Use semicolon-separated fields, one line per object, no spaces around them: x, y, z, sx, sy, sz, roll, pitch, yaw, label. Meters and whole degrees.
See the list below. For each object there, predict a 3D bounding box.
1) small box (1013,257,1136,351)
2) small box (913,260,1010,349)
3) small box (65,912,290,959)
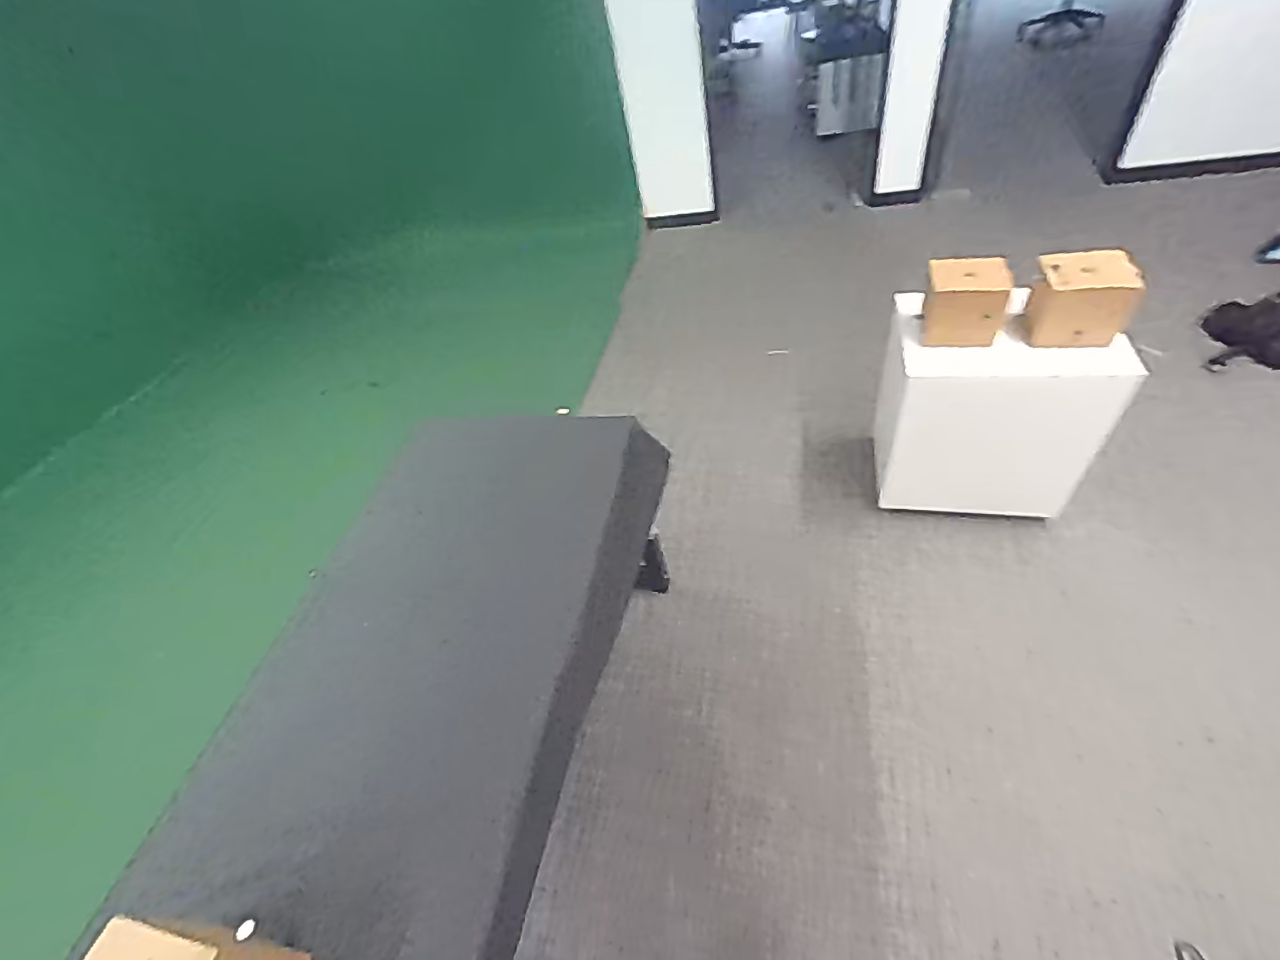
1.080;-0.439;1.360;0.179;0.176;0.168;5;50;16;small box
0.843;-0.463;1.435;0.179;0.176;0.168;4;49;16;small box
-0.543;0.614;0.600;0.168;0.176;0.179;3;49;15;small box
